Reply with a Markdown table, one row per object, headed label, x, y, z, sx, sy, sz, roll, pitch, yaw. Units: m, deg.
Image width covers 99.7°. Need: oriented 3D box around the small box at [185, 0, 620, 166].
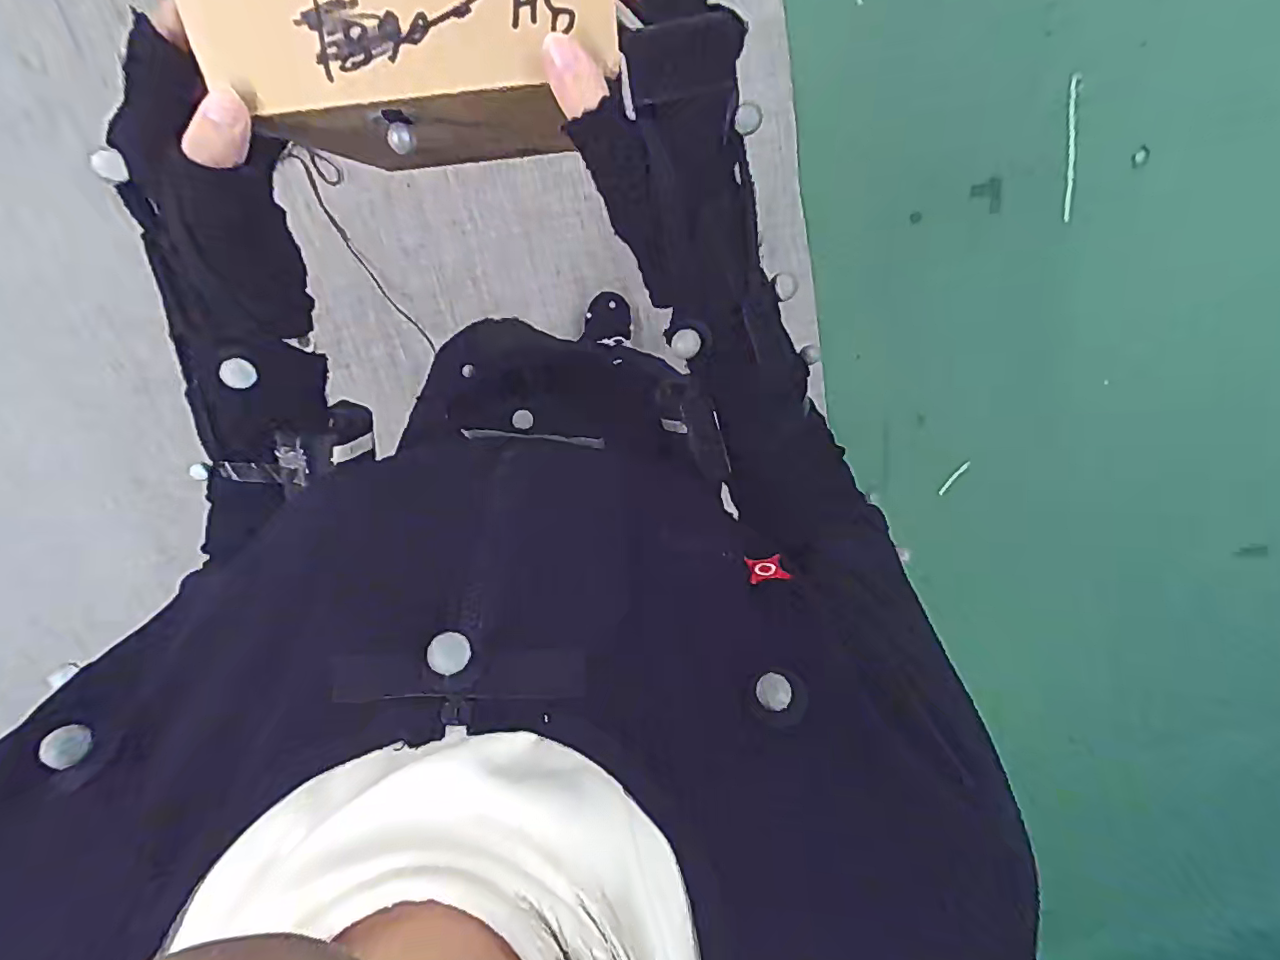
| label | x | y | z | sx | sy | sz | roll | pitch | yaw |
| --- | --- | --- | --- | --- | --- | --- | --- | --- | --- |
| small box | -0.100 | -0.272 | 0.262 | 0.168 | 0.176 | 0.179 | -6 | 112 | 1 |
